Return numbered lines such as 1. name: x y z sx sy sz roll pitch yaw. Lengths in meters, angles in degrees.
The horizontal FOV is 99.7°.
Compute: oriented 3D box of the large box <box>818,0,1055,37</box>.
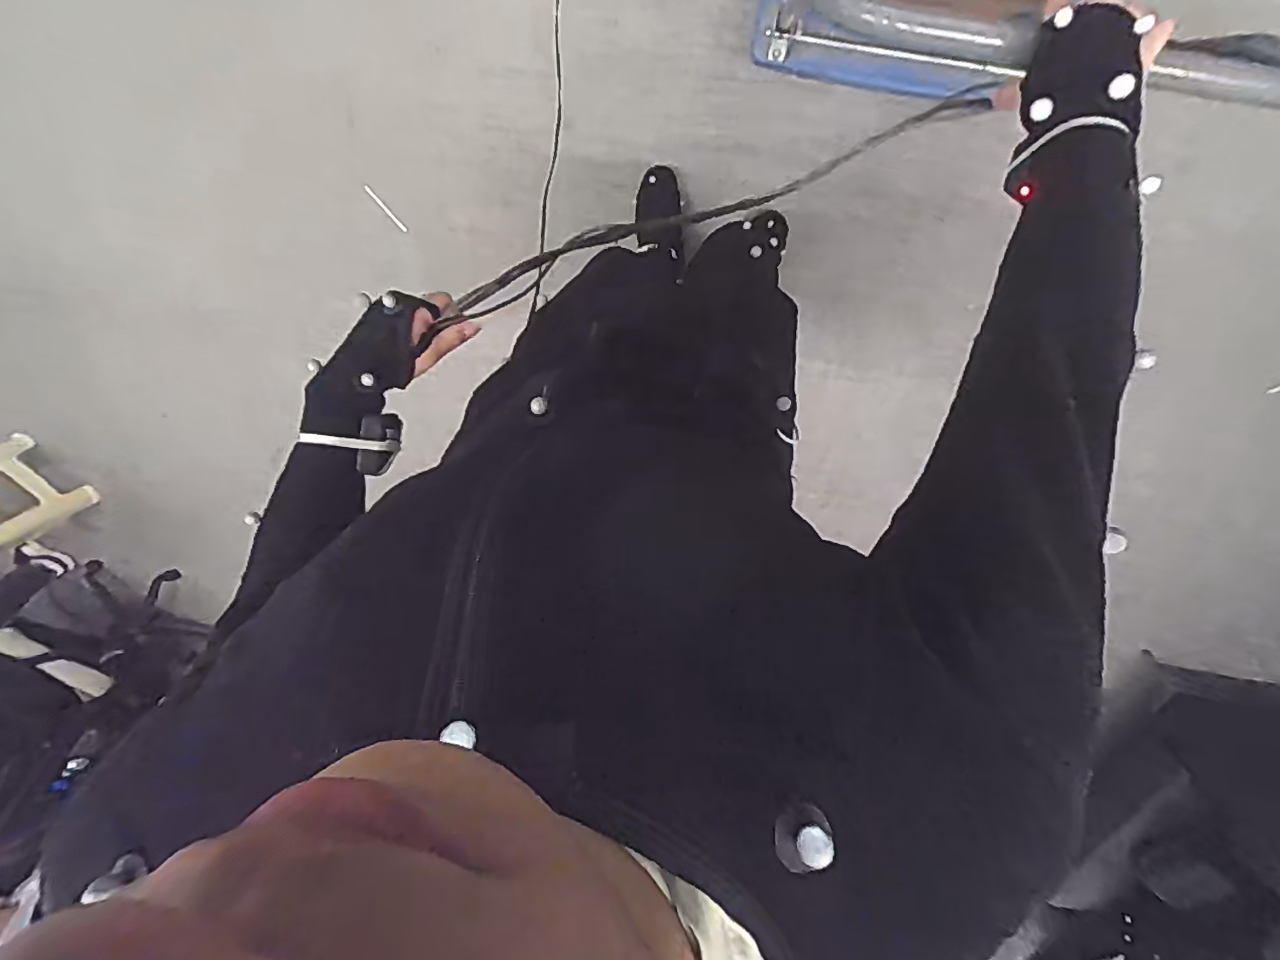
1. large box: 0.481 -0.928 0.766 0.320 0.320 0.408 13 123 1
